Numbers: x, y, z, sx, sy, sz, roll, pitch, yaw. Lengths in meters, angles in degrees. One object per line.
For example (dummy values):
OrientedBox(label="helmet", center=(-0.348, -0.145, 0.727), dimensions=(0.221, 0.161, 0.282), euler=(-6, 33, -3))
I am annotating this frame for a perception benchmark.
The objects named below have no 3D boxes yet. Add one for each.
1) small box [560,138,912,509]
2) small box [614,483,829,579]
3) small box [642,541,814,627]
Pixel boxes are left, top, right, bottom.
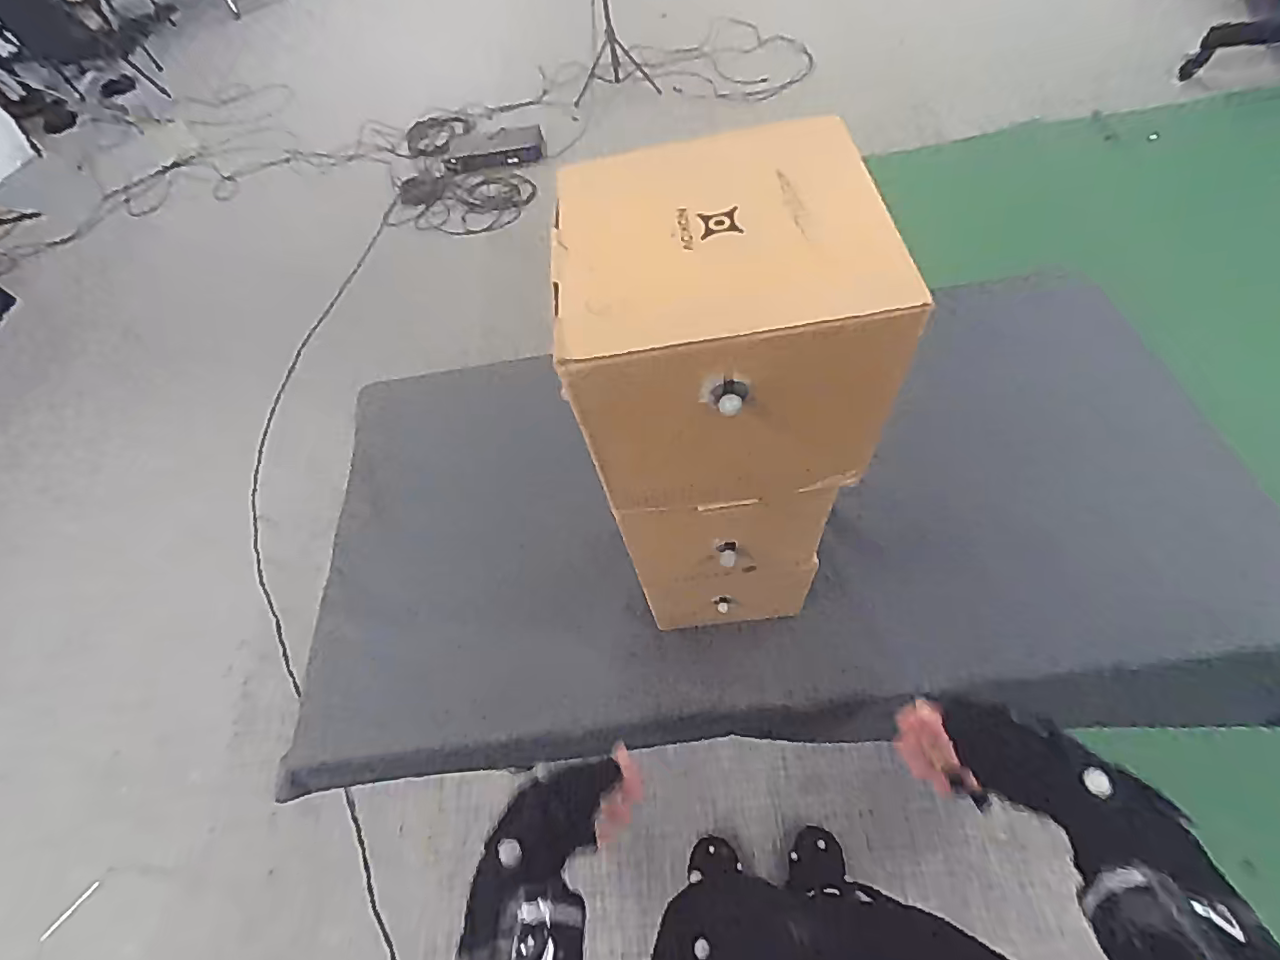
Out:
OrientedBox(label="small box", center=(0.051, -0.093, 0.372), dimensions=(0.179, 0.176, 0.168), euler=(-8, 59, 4))
OrientedBox(label="small box", center=(0.067, -0.015, 0.515), dimensions=(0.168, 0.176, 0.179), euler=(-9, 59, 4))
OrientedBox(label="small box", center=(0.094, 0.068, 0.653), dimensions=(0.179, 0.176, 0.168), euler=(-9, 58, 5))
